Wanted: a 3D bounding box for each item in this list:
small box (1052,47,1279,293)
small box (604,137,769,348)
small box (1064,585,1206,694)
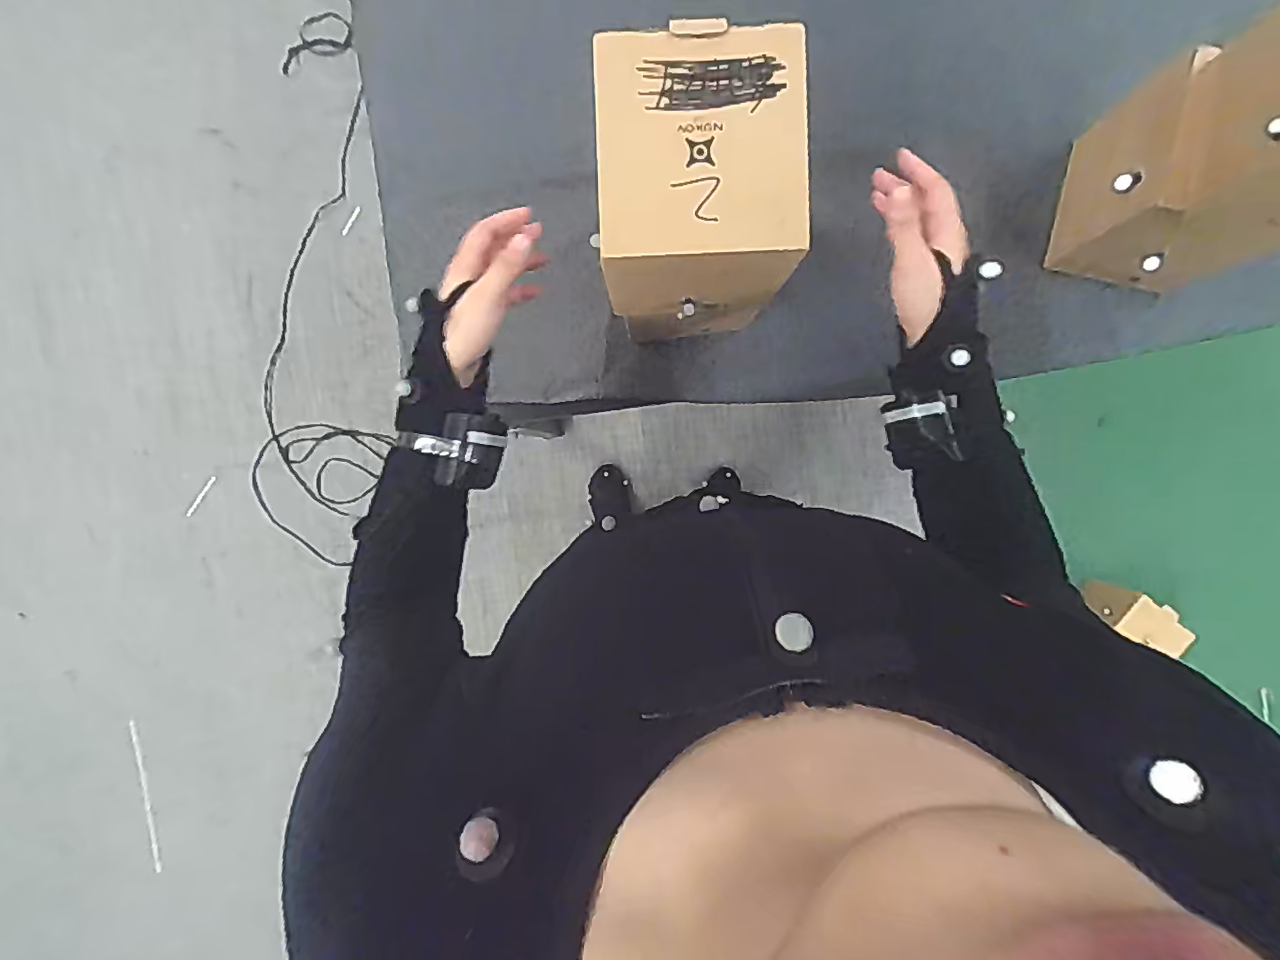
[{"bbox_3d":[0.630,-0.340,0.629,0.168,0.176,0.179,13,90,2],"label":"small box"},{"bbox_3d":[0.052,-0.275,0.663,0.168,0.176,0.179,-7,91,3],"label":"small box"},{"bbox_3d":[1.231,0.394,1.367,0.168,0.176,0.179,39,93,1],"label":"small box"}]
